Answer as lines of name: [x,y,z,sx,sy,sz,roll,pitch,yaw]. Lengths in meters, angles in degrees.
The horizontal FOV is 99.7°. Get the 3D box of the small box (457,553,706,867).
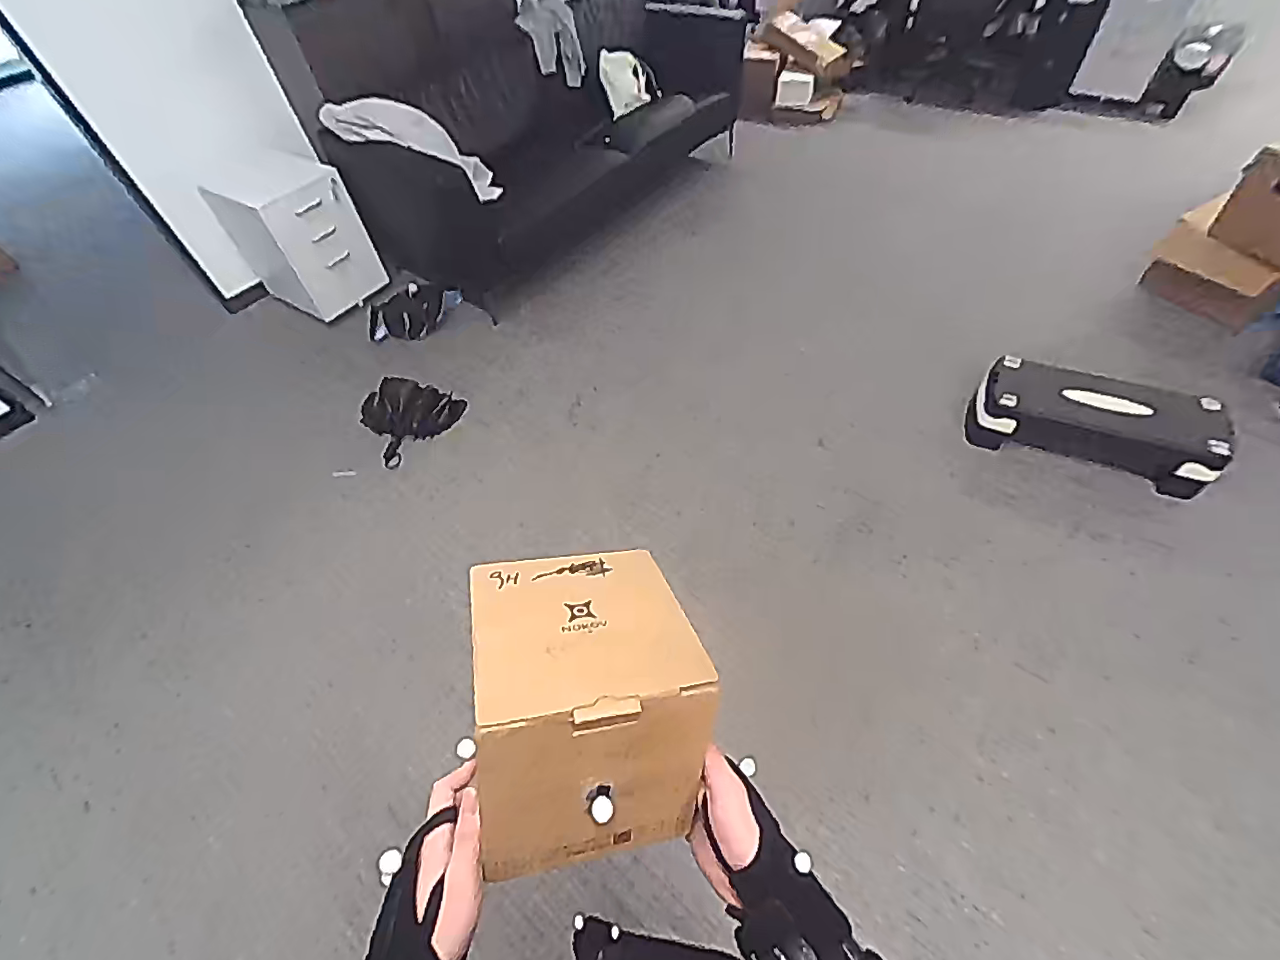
small box: [-0.059,0.184,0.452,0.168,0.176,0.179,-2,28,-16]
